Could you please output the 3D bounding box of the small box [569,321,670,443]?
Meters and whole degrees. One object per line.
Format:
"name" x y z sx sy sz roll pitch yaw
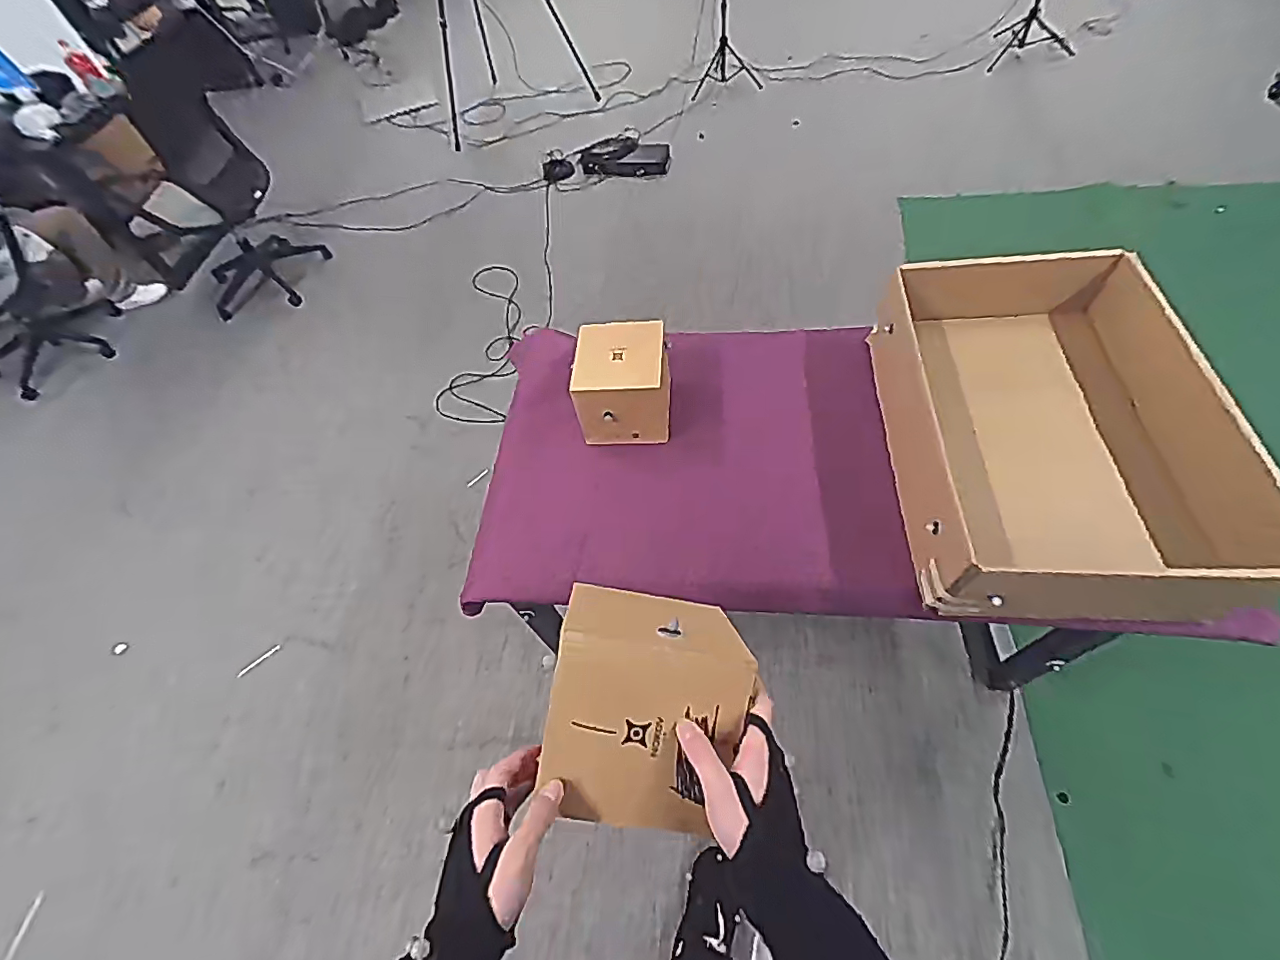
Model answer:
"small box" -0.031 -0.185 1.064 0.168 0.176 0.179 -1 56 8
